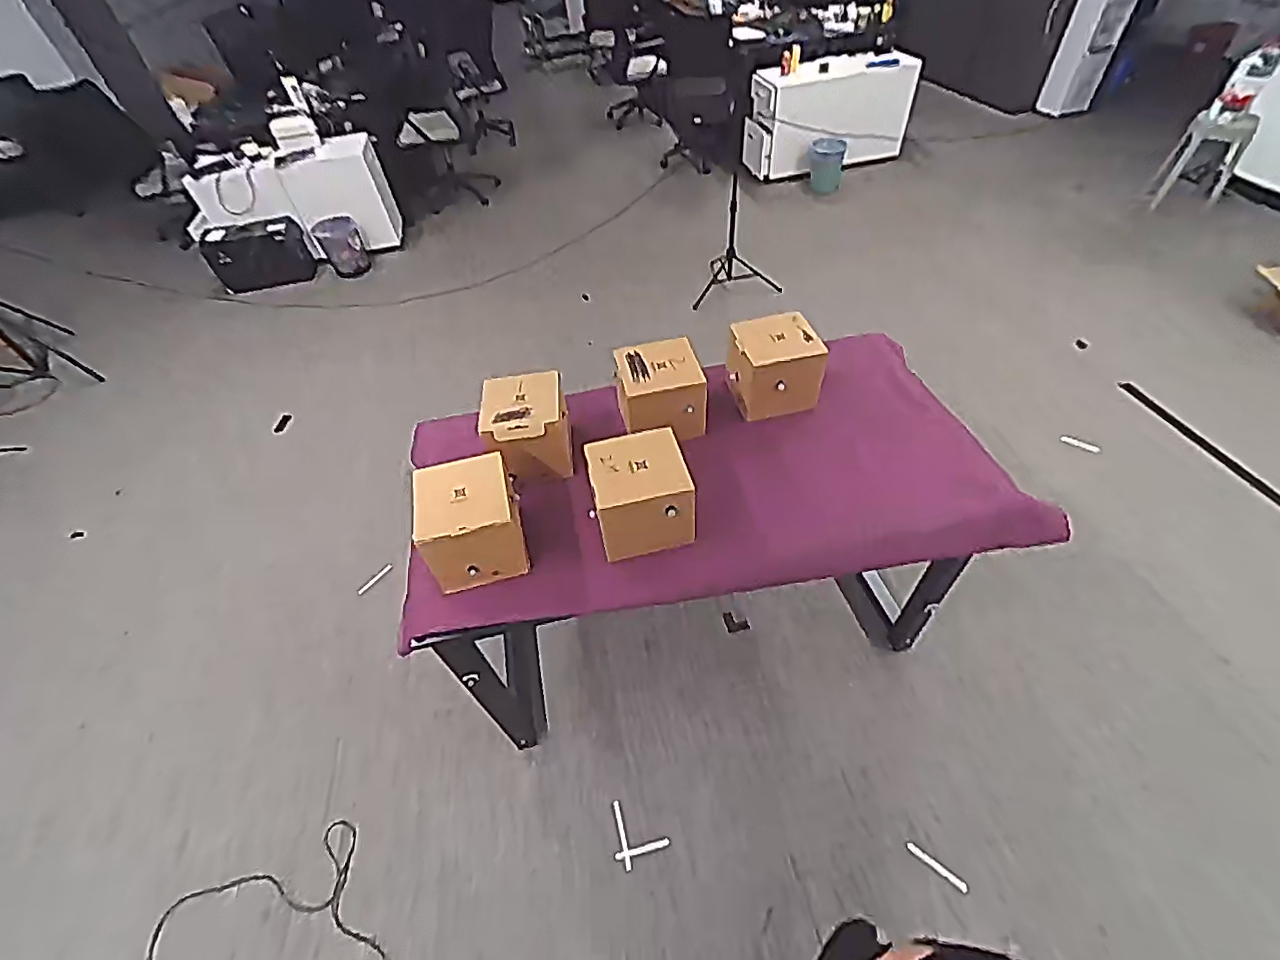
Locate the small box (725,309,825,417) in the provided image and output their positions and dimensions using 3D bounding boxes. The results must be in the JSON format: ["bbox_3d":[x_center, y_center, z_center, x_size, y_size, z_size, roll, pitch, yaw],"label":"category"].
[{"bbox_3d":[0.305,-0.267,1.260,0.179,0.176,0.168,-13,51,-4],"label":"small box"}]

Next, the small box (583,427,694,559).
[{"bbox_3d":[-0.002,0.028,1.036,0.179,0.176,0.168,-13,49,-5],"label":"small box"}]

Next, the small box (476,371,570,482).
[{"bbox_3d":[-0.248,-0.110,1.183,0.168,0.176,0.179,-8,49,-2],"label":"small box"}]

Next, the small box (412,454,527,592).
[{"bbox_3d":[-0.319,0.082,1.020,0.168,0.176,0.179,-14,50,-9],"label":"small box"}]
